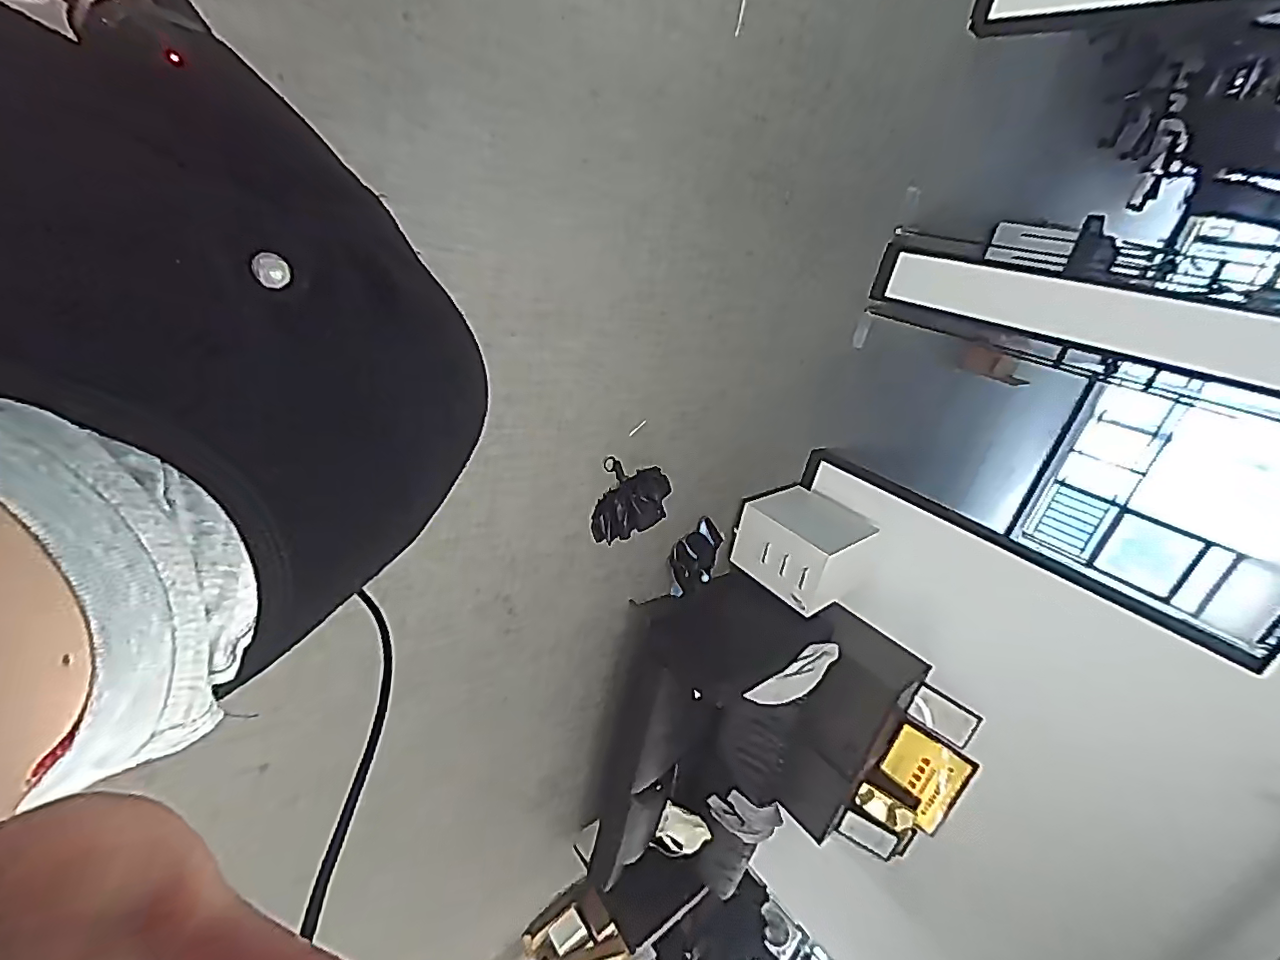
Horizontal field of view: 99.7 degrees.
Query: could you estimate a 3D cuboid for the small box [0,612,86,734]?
[{"bbox_3d":[-1.400,0.426,1.206,0.179,0.176,0.168,-49,139,-8],"label":"small box"}]
